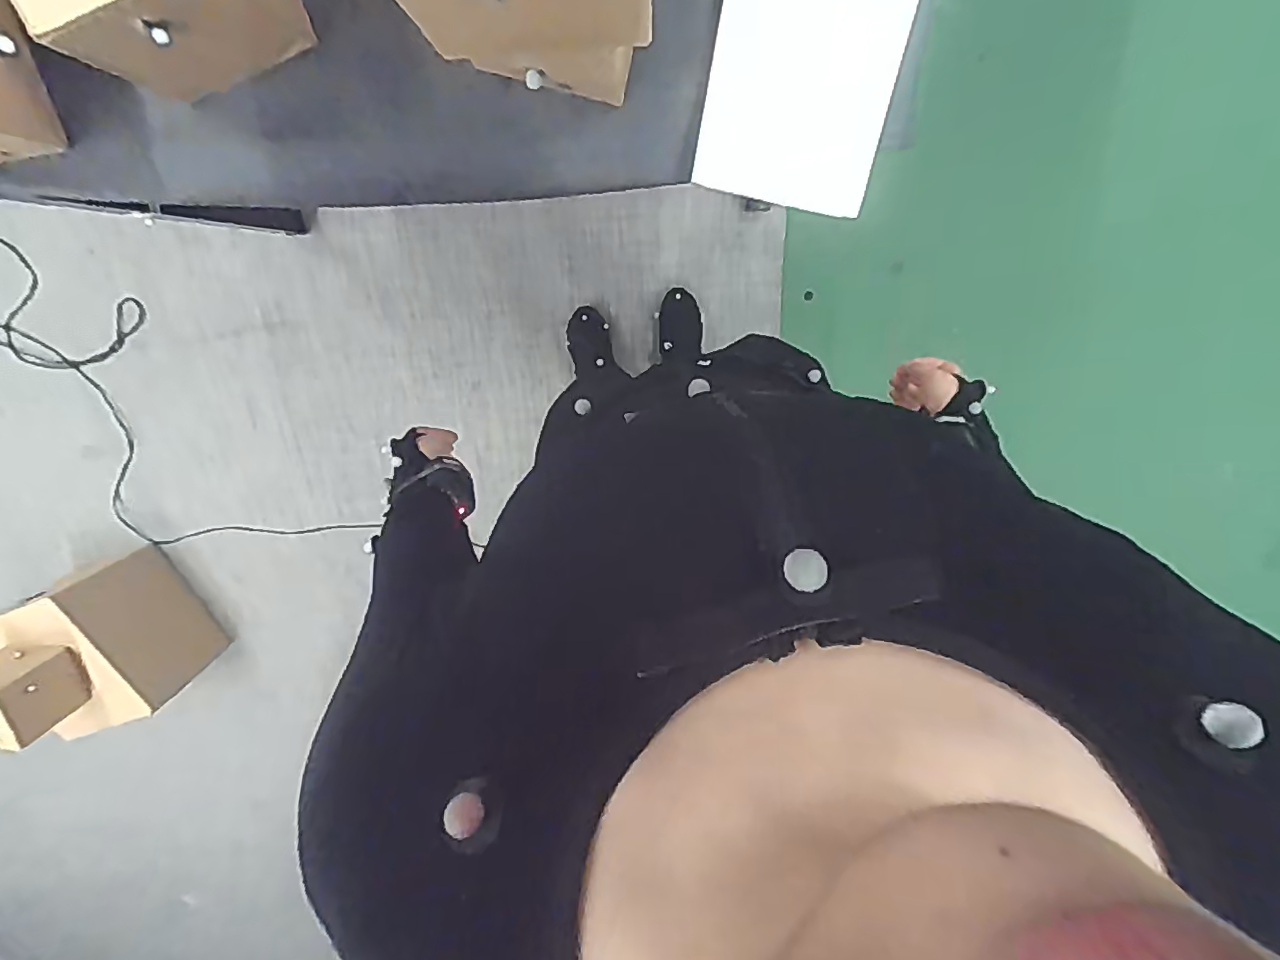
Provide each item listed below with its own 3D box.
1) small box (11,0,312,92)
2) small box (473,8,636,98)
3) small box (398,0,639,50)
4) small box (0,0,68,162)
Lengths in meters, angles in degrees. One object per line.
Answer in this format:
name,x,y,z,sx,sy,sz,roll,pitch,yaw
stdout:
small box,-0.459,-0.500,0.501,0.179,0.176,0.168,-17,109,7
small box,-0.087,-0.490,0.492,0.168,0.176,0.179,13,110,-3
small box,-0.088,-0.412,0.348,0.179,0.176,0.168,-3,109,3
small box,-0.753,-0.431,0.532,0.168,0.176,0.179,-7,110,4
